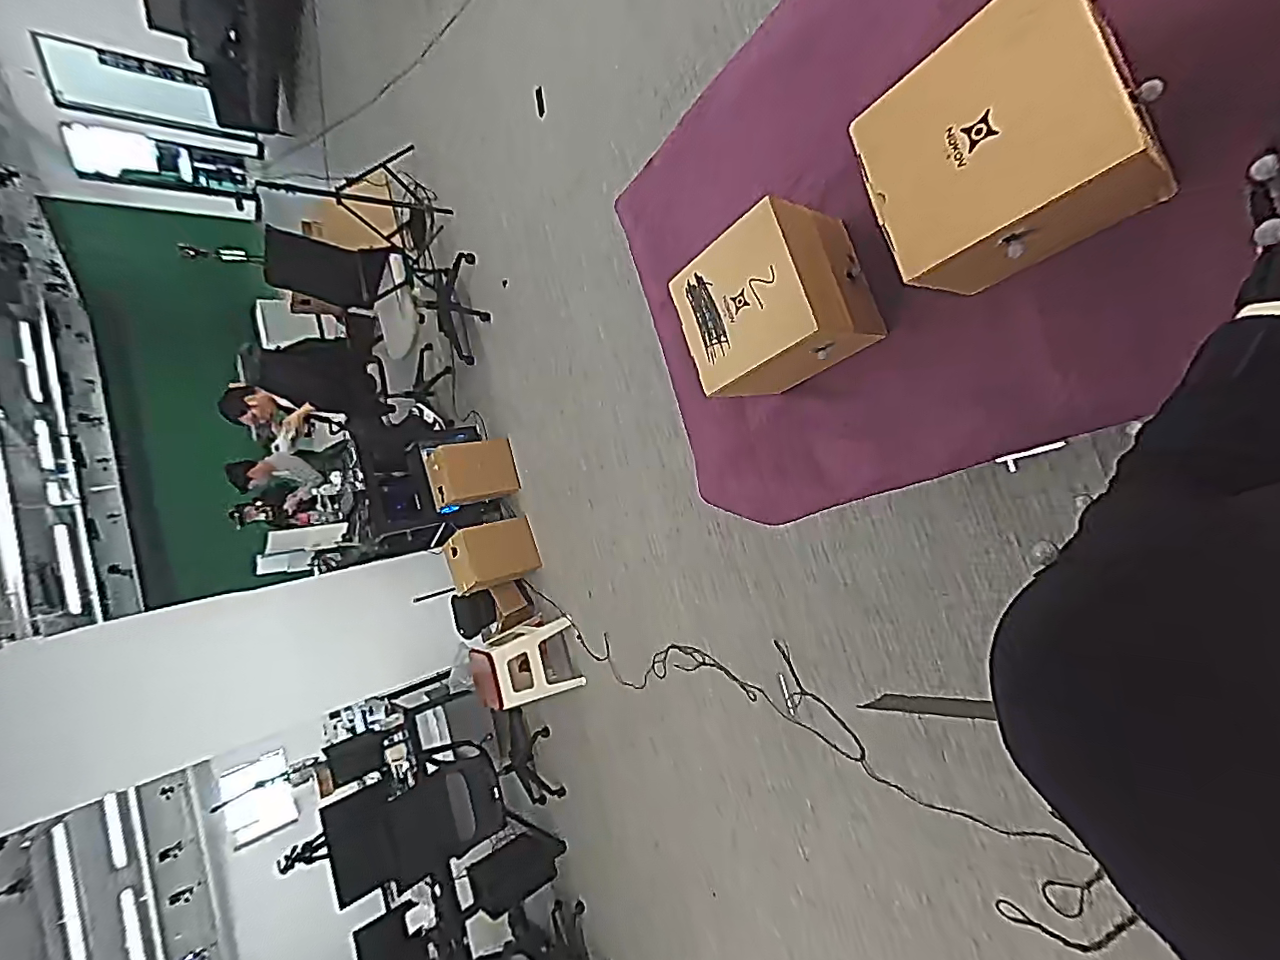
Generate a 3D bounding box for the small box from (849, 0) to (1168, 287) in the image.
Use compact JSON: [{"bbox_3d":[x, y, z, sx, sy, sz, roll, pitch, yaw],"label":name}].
[{"bbox_3d":[0.331,-0.294,0.487,0.179,0.176,0.168,-24,80,52],"label":"small box"}]
